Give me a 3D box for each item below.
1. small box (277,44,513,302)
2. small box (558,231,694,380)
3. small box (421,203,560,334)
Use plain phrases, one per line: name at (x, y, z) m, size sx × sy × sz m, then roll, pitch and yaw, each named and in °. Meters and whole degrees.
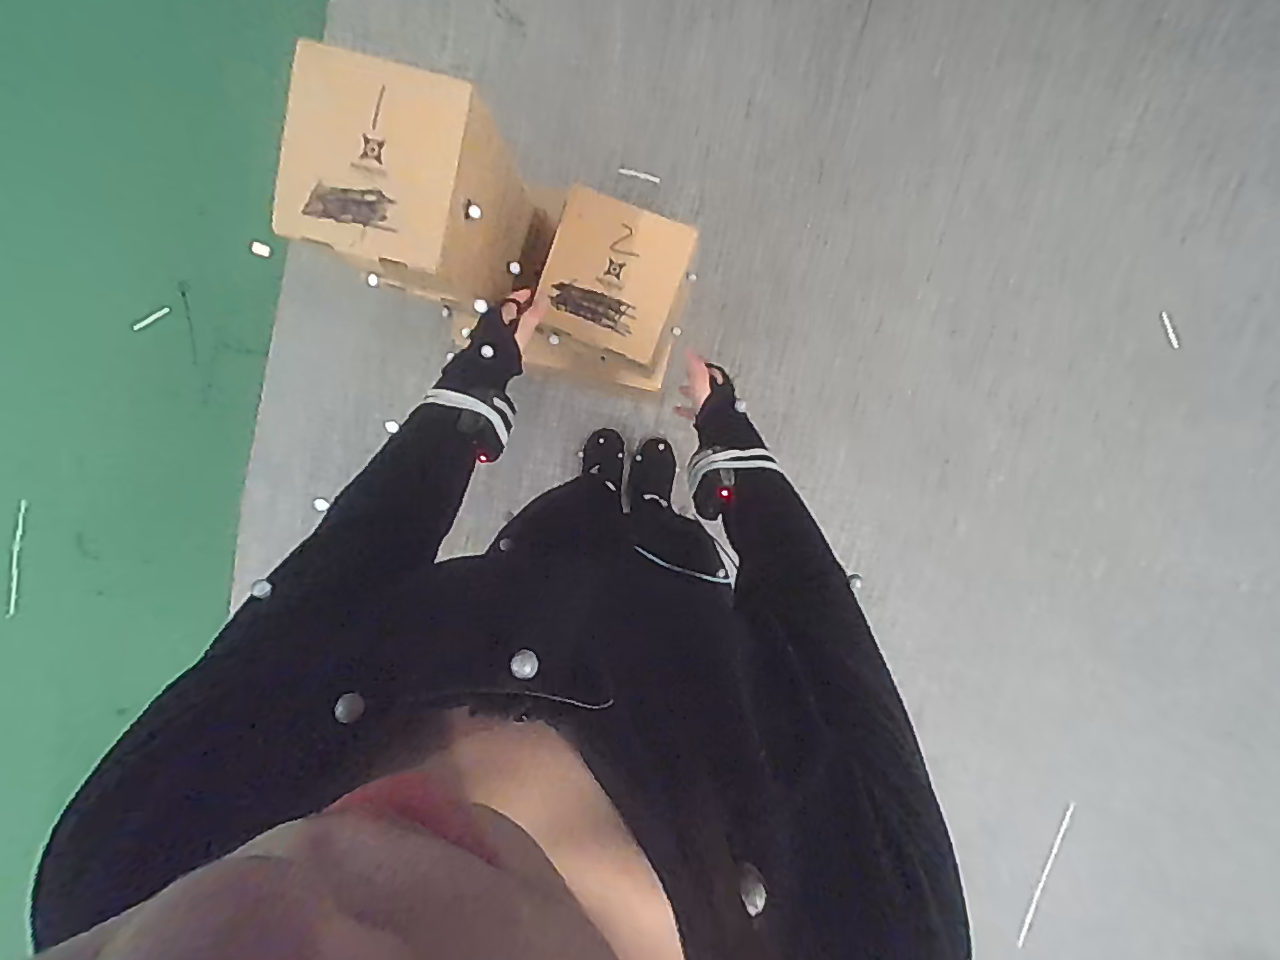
small box at (-0.249, -0.309, 0.588) m, size 0.168 × 0.176 × 0.179 m, roll 14°, pitch 97°, yaw -1°
small box at (-0.020, -0.280, 0.911) m, size 0.168 × 0.176 × 0.179 m, roll 21°, pitch 98°, yaw 1°
small box at (-0.241, -0.357, 0.913) m, size 0.168 × 0.176 × 0.179 m, roll 16°, pitch 98°, yaw -2°
